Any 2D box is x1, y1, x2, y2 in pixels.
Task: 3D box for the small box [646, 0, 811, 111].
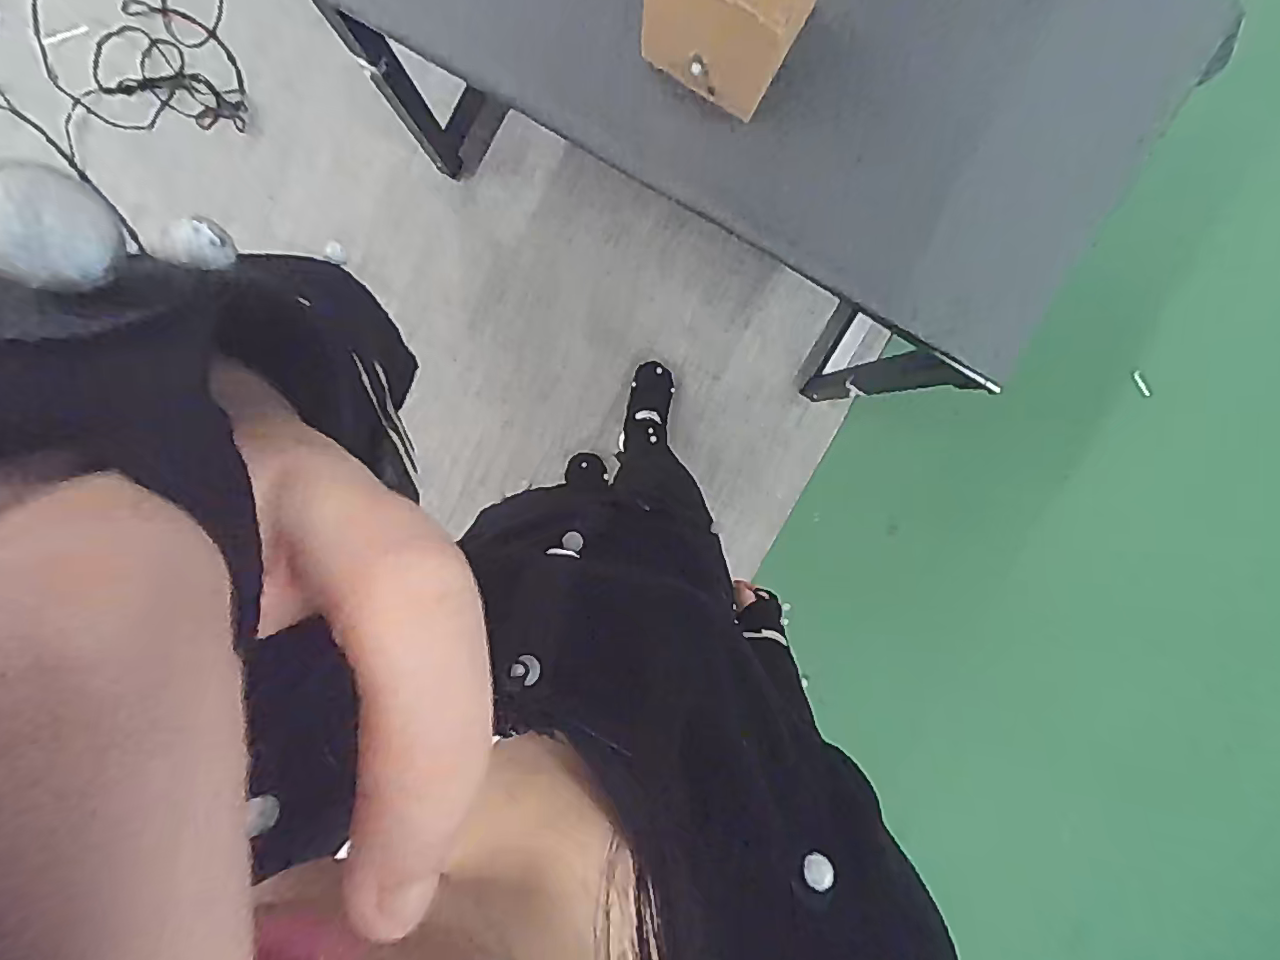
[{"bbox_3d":[0.115,-0.584,0.618,0.168,0.176,0.179,30,94,-5],"label":"small box"}]
